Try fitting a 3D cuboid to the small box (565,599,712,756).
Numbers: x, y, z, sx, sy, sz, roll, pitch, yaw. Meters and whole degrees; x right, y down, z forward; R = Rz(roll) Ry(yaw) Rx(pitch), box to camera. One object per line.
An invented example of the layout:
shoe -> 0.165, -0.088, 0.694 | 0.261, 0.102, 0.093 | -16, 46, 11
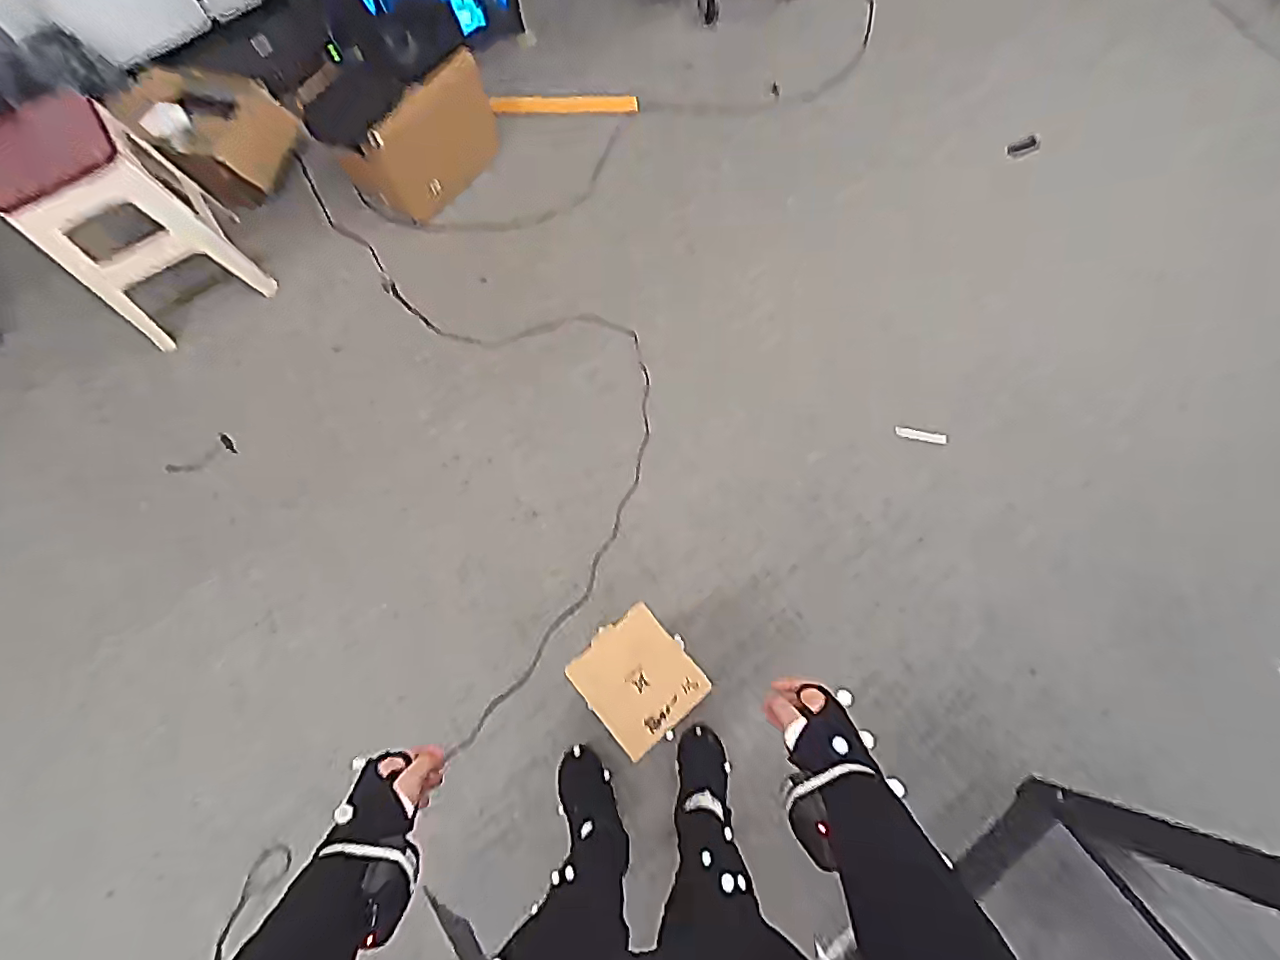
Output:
small box -> -0.003, 0.330, 0.917 | 0.168, 0.176, 0.179 | -40, 75, -11
